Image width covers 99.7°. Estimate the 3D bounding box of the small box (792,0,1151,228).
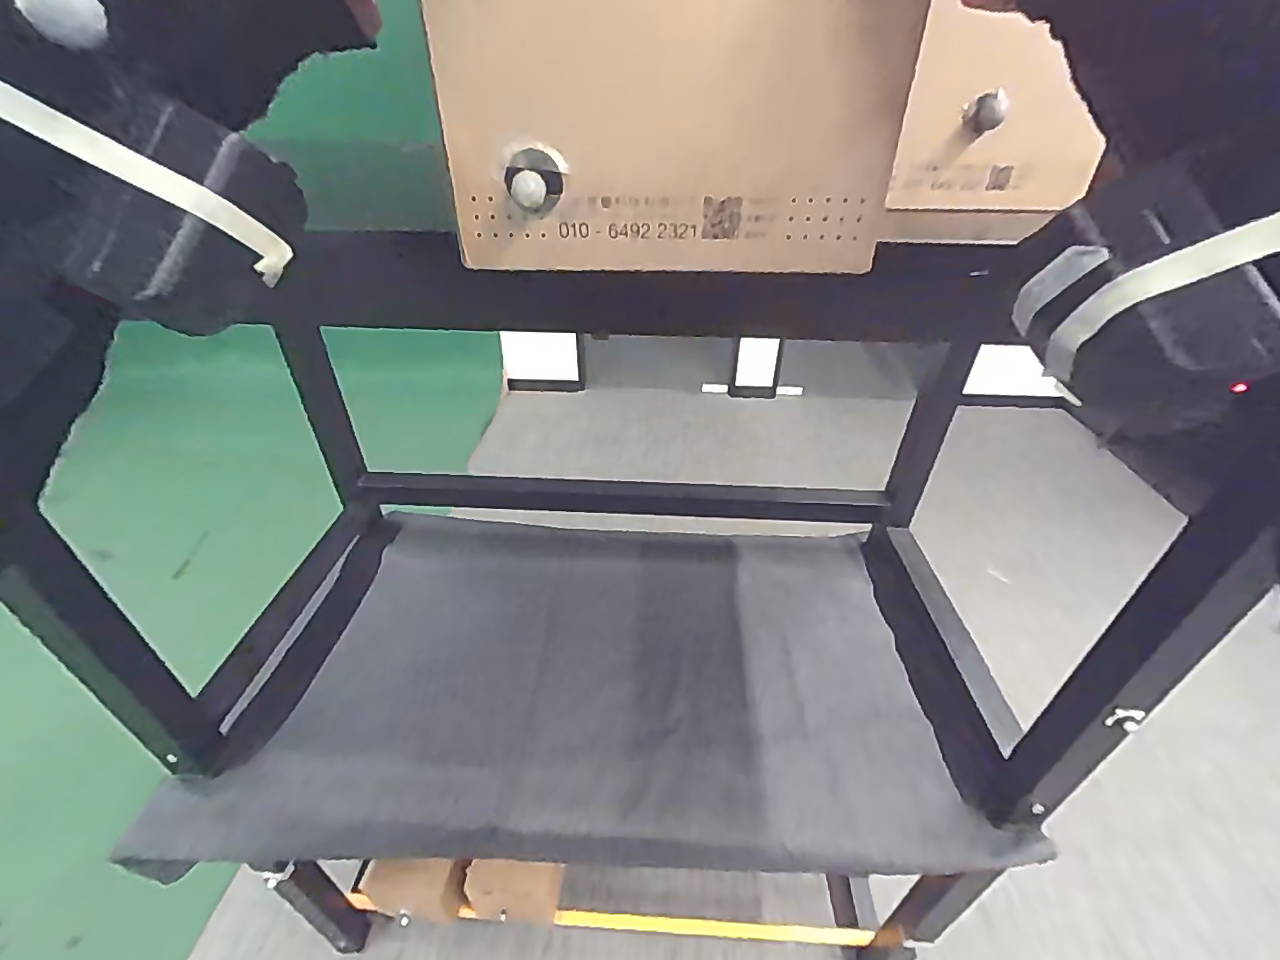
[{"bbox_3d":[0.222,-0.299,0.410,0.168,0.176,0.179,1,35,2],"label":"small box"}]
